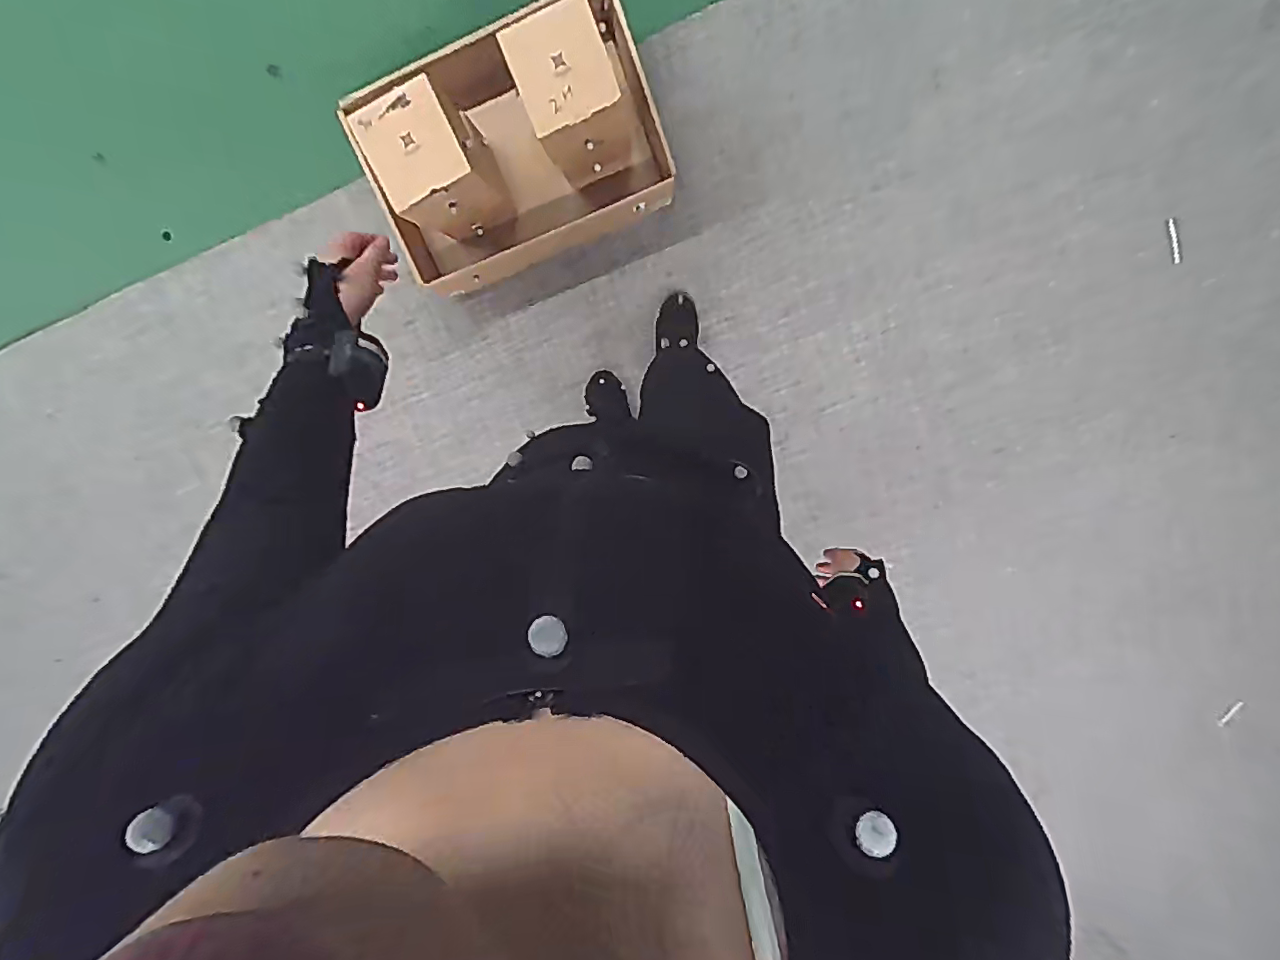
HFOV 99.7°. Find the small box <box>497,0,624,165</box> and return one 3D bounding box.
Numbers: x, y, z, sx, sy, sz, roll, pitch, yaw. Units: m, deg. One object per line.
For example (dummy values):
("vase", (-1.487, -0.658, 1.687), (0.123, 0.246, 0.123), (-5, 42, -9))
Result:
("small box", (-0.136, -0.723, 0.998), (0.168, 0.176, 0.179), (-21, 105, 7))

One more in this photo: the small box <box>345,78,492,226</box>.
("small box", (-0.408, -0.607, 1.034), (0.168, 0.176, 0.179), (-24, 105, 7))
